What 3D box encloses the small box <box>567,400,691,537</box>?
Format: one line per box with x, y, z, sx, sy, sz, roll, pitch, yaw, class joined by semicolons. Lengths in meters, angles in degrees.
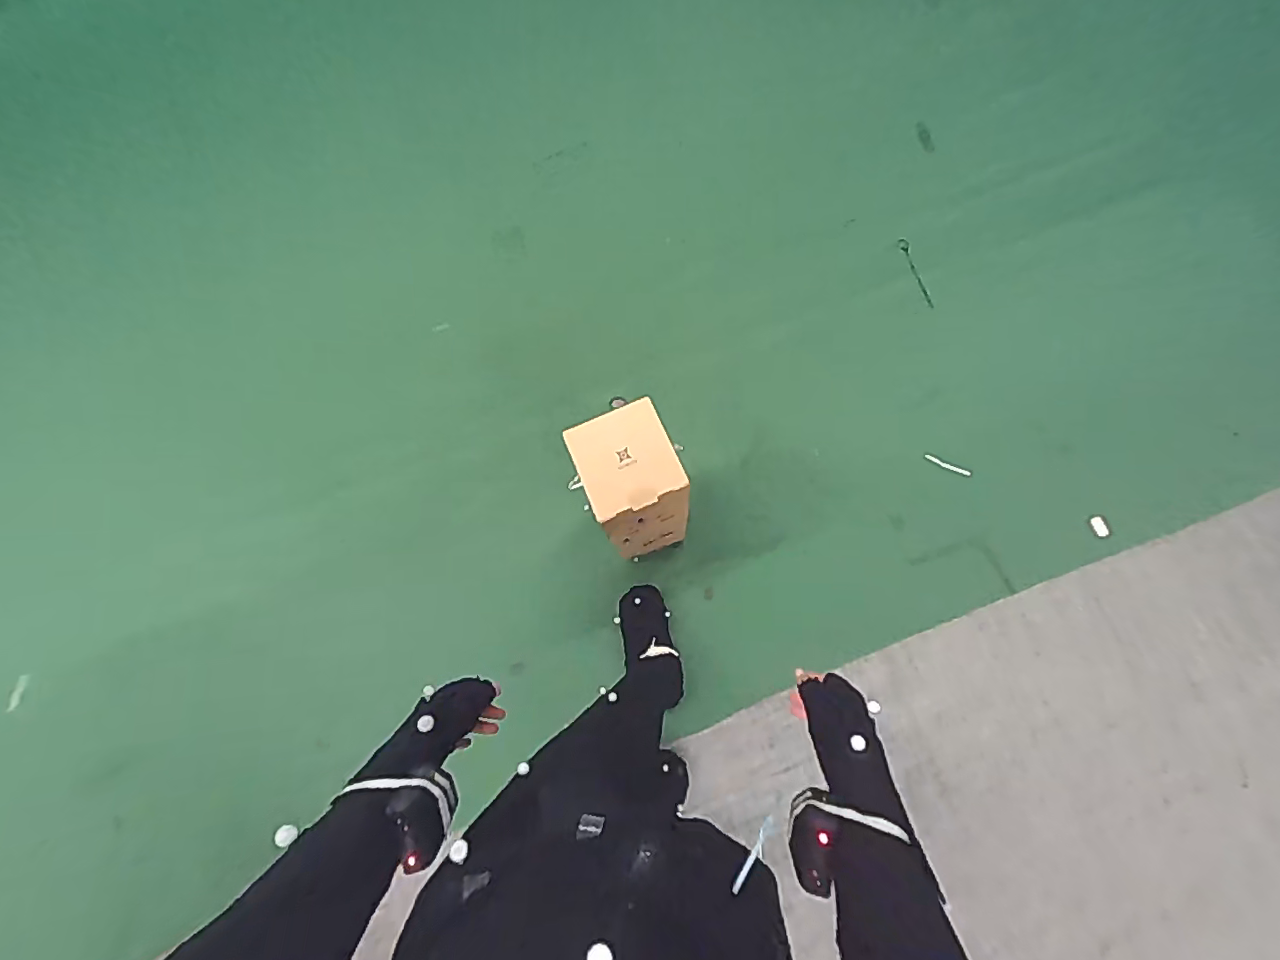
-0.018;-0.014;0.991;0.168;0.176;0.179;-23;74;-4;small box

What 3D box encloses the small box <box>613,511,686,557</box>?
0.006;0.079;1.304;0.168;0.176;0.179;-20;74;-3;small box
